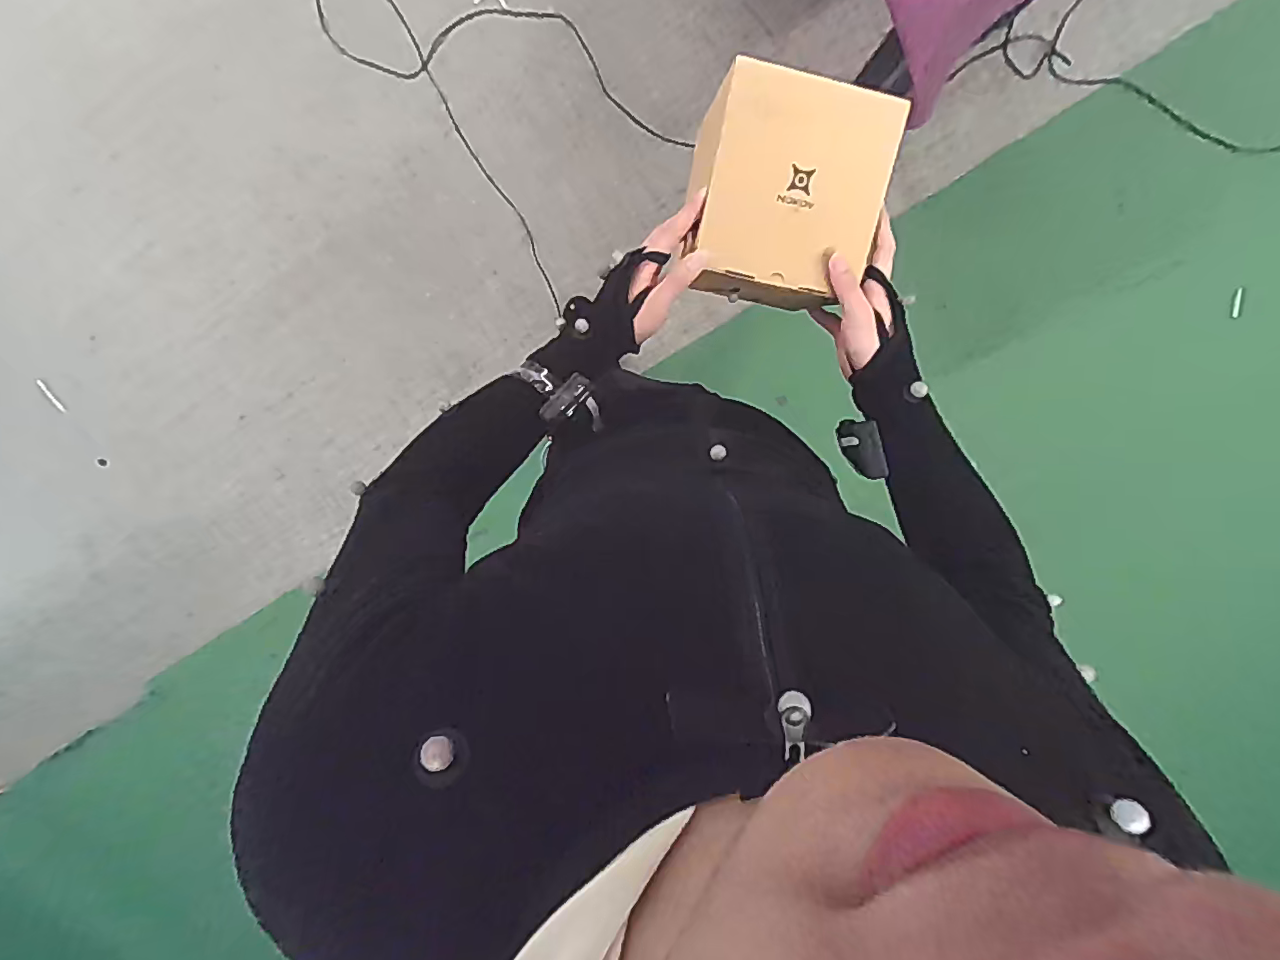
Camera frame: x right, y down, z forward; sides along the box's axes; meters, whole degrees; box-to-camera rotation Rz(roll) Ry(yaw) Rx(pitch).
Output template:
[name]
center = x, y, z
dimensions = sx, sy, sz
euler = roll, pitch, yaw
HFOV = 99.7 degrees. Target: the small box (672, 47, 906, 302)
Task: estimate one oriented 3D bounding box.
[small box]
center = 0.134, -0.292, 0.563
dimensions = 0.168, 0.176, 0.179
euler = 9, 105, -7
